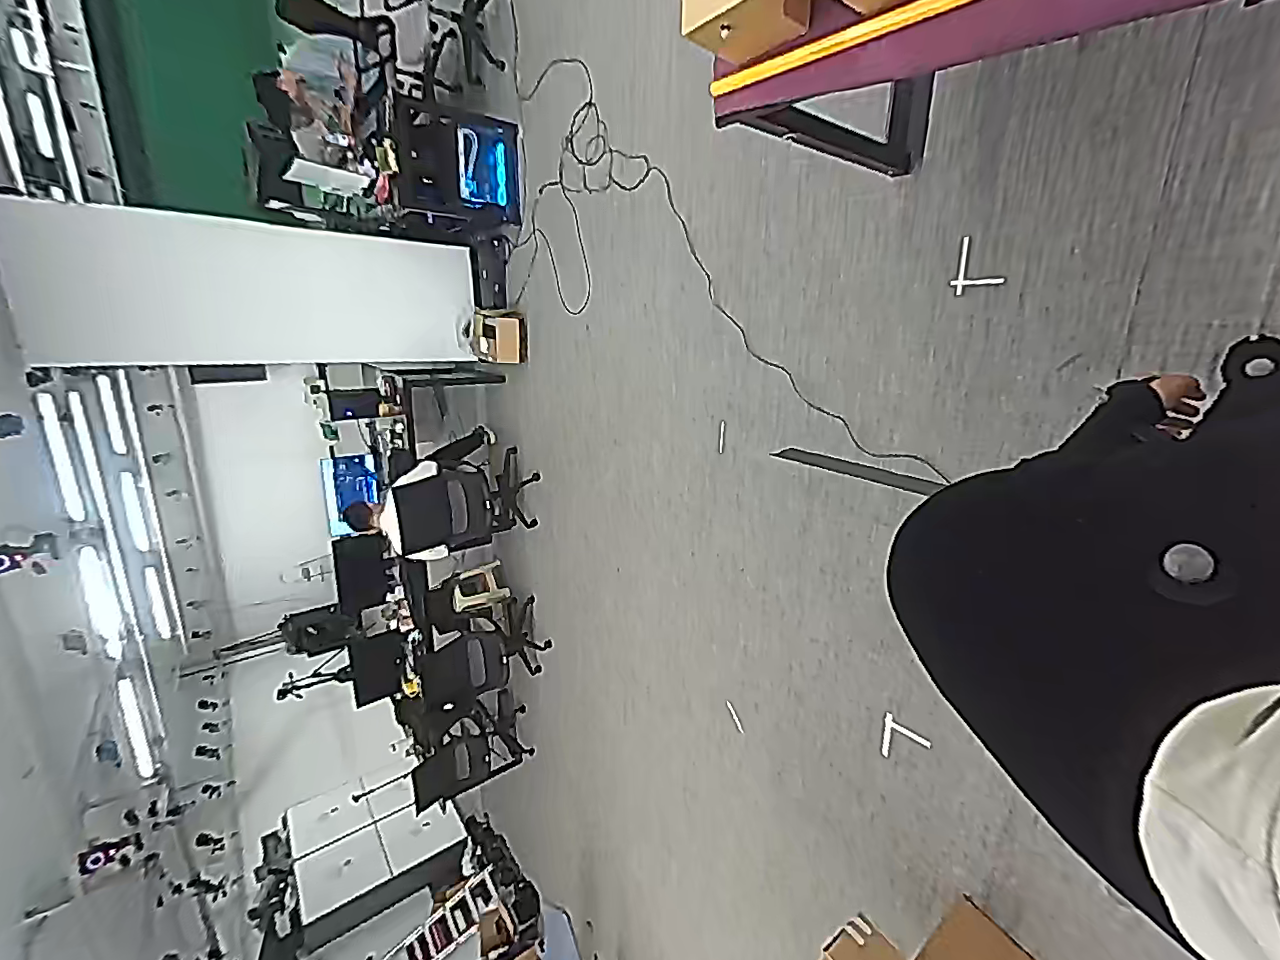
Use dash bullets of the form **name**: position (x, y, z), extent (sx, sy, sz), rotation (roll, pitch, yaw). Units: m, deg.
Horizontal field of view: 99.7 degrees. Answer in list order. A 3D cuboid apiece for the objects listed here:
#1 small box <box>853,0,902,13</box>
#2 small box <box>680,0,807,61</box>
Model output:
- **small box**: position (0.363, -0.825, 0.769), extent (0.168, 0.176, 0.179), rotation (22, 116, 51)
- **small box**: position (0.194, -0.903, 0.978), extent (0.179, 0.176, 0.168), rotation (21, 115, 50)
